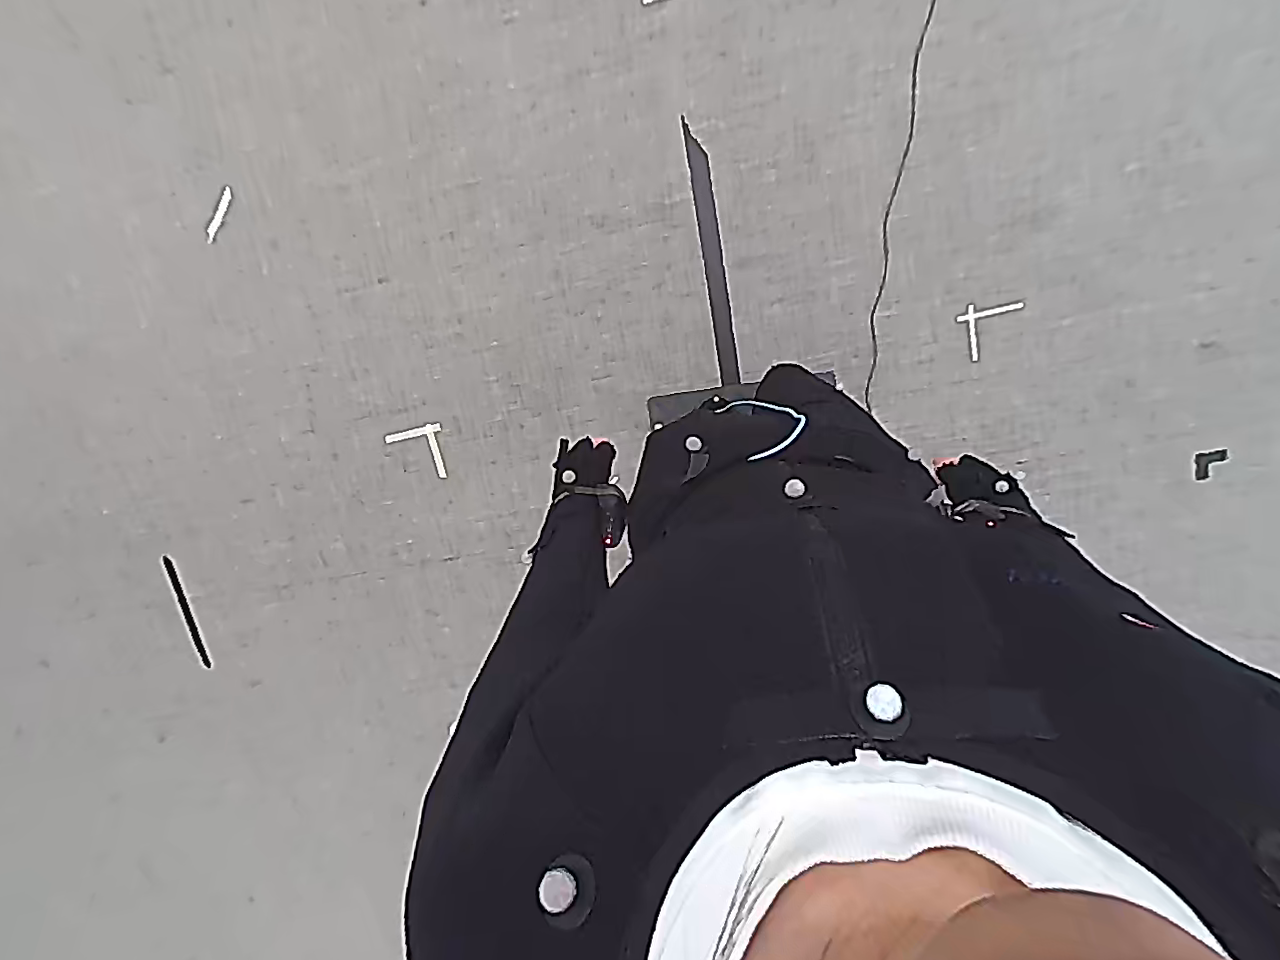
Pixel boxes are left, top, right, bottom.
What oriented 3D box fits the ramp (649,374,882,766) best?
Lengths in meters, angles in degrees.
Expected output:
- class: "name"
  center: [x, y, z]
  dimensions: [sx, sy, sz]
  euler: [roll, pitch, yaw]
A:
- class: "ramp"
  center: [0.322, 0.248, 1.432]
  dimensions: [0.509, 0.206, 0.991]
  euler: [-9, 100, 9]
